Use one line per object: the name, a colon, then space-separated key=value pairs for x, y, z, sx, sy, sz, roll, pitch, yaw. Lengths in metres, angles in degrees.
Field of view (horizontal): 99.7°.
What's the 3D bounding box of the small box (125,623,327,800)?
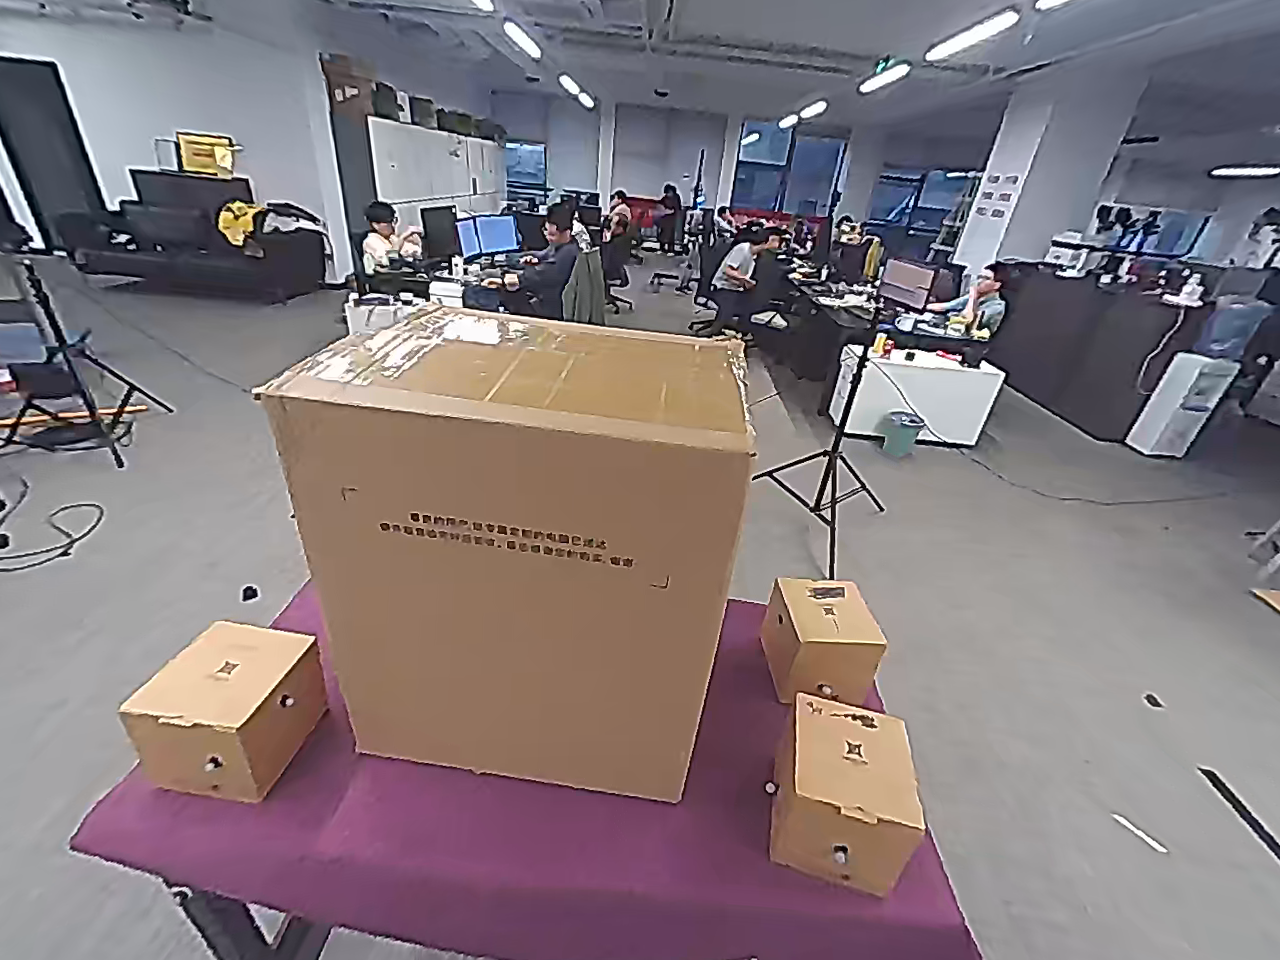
small box: x=-0.609 y=0.351 z=0.827 sx=0.168 sy=0.176 sz=0.179 roll=10 pitch=27 yaw=0
